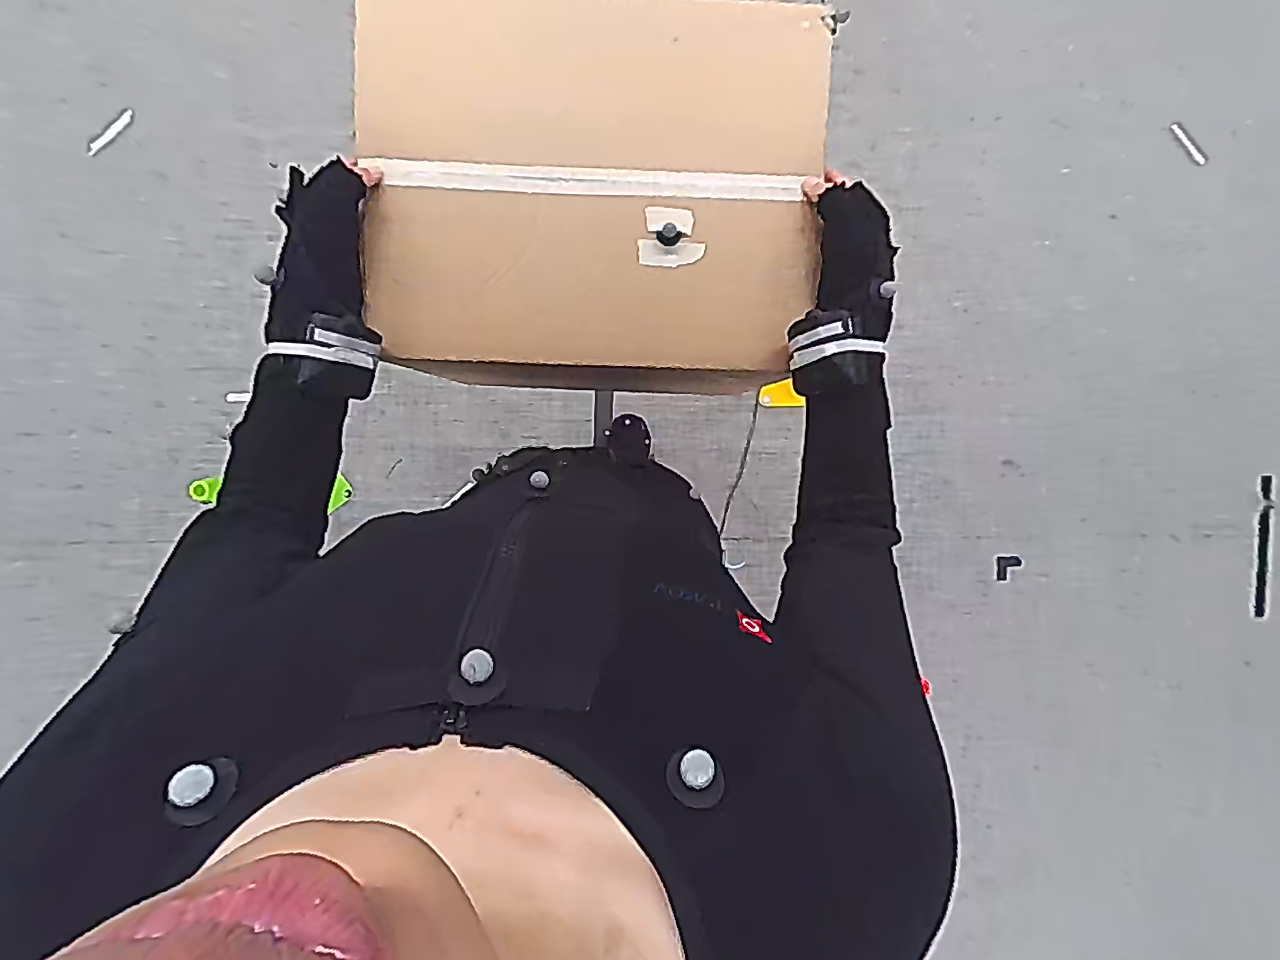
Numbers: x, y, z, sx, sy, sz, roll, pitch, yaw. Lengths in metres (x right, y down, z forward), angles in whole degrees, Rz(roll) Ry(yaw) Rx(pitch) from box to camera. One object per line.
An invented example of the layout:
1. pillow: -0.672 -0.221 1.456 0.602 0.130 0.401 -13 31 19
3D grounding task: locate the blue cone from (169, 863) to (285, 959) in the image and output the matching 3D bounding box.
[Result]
1. blue cone: -1.053 1.130 1.294 0.192 0.380 0.193 4 91 0

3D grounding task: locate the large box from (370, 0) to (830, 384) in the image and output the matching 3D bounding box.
1. large box: -0.041 -0.282 0.625 0.408 0.320 0.320 1 96 -3

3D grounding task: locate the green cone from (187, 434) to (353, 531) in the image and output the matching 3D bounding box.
1. green cone: -0.890 0.011 1.264 0.202 0.368 0.200 -37 91 1
